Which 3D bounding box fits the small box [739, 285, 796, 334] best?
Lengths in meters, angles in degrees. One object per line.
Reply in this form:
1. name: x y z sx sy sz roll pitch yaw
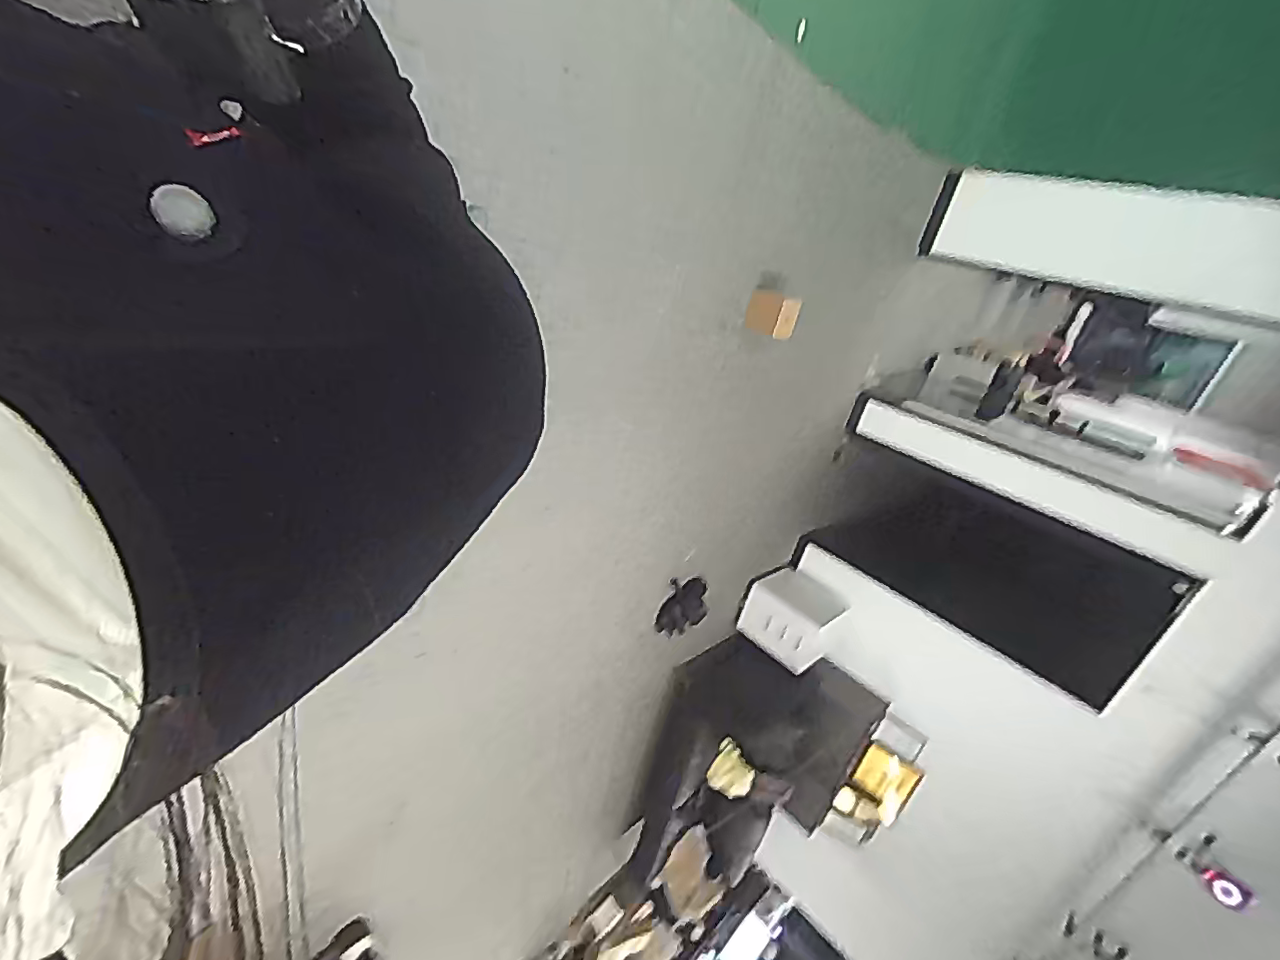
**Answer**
1. small box: 0.576 -0.776 2.460 0.168 0.176 0.179 -14 125 -46
